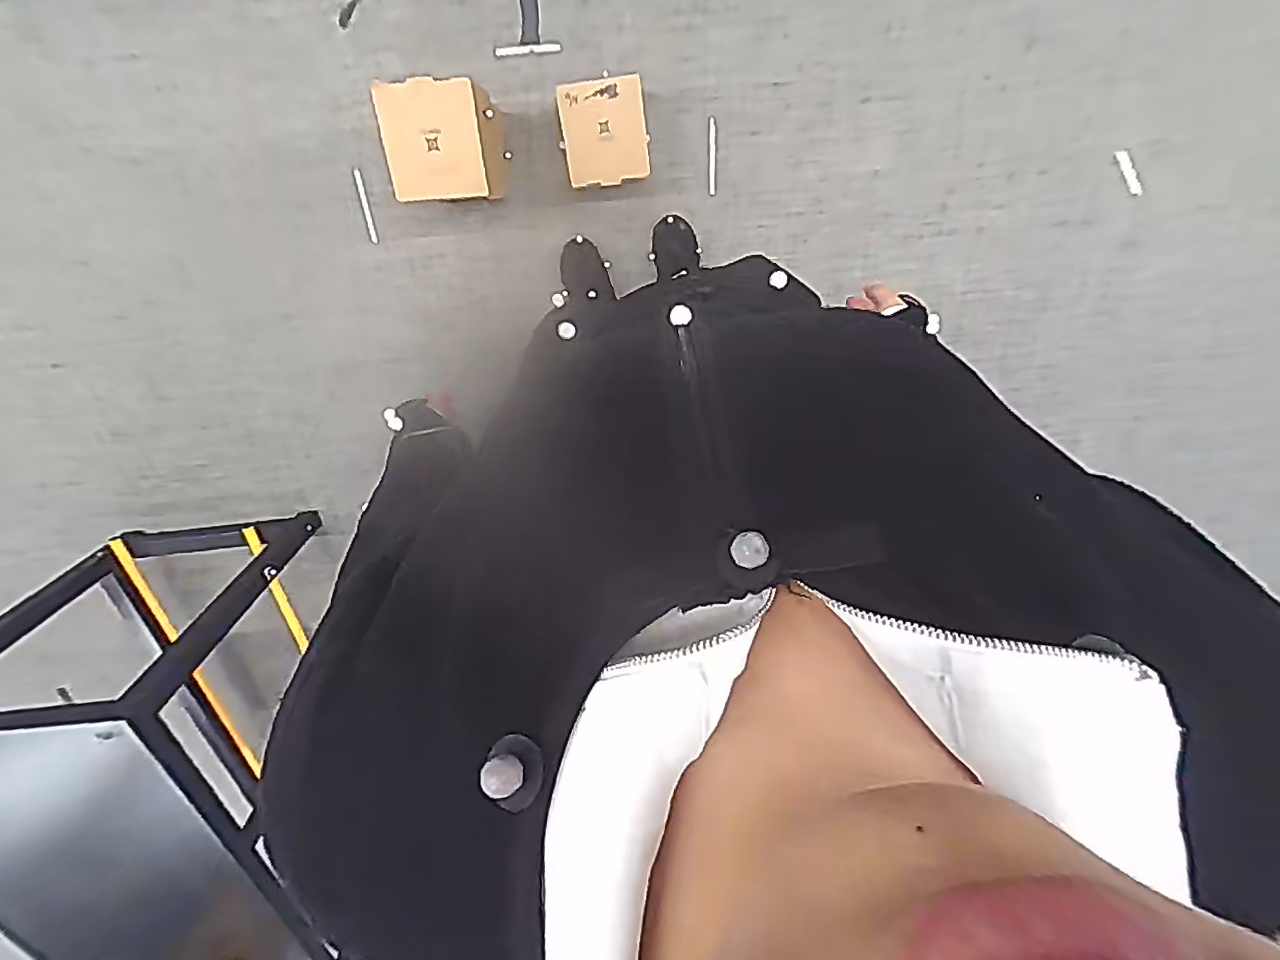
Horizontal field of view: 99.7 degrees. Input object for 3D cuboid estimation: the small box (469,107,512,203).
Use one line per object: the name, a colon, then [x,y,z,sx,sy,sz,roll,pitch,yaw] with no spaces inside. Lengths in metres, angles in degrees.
small box: [-0.374,-0.682,1.144,0.179,0.176,0.168,-3,117,-2]

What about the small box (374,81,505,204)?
small box: [-0.357,-0.612,0.998,0.168,0.176,0.179,-4,119,0]

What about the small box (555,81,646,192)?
small box: [-0.078,-0.720,1.147,0.168,0.176,0.179,-8,118,0]
